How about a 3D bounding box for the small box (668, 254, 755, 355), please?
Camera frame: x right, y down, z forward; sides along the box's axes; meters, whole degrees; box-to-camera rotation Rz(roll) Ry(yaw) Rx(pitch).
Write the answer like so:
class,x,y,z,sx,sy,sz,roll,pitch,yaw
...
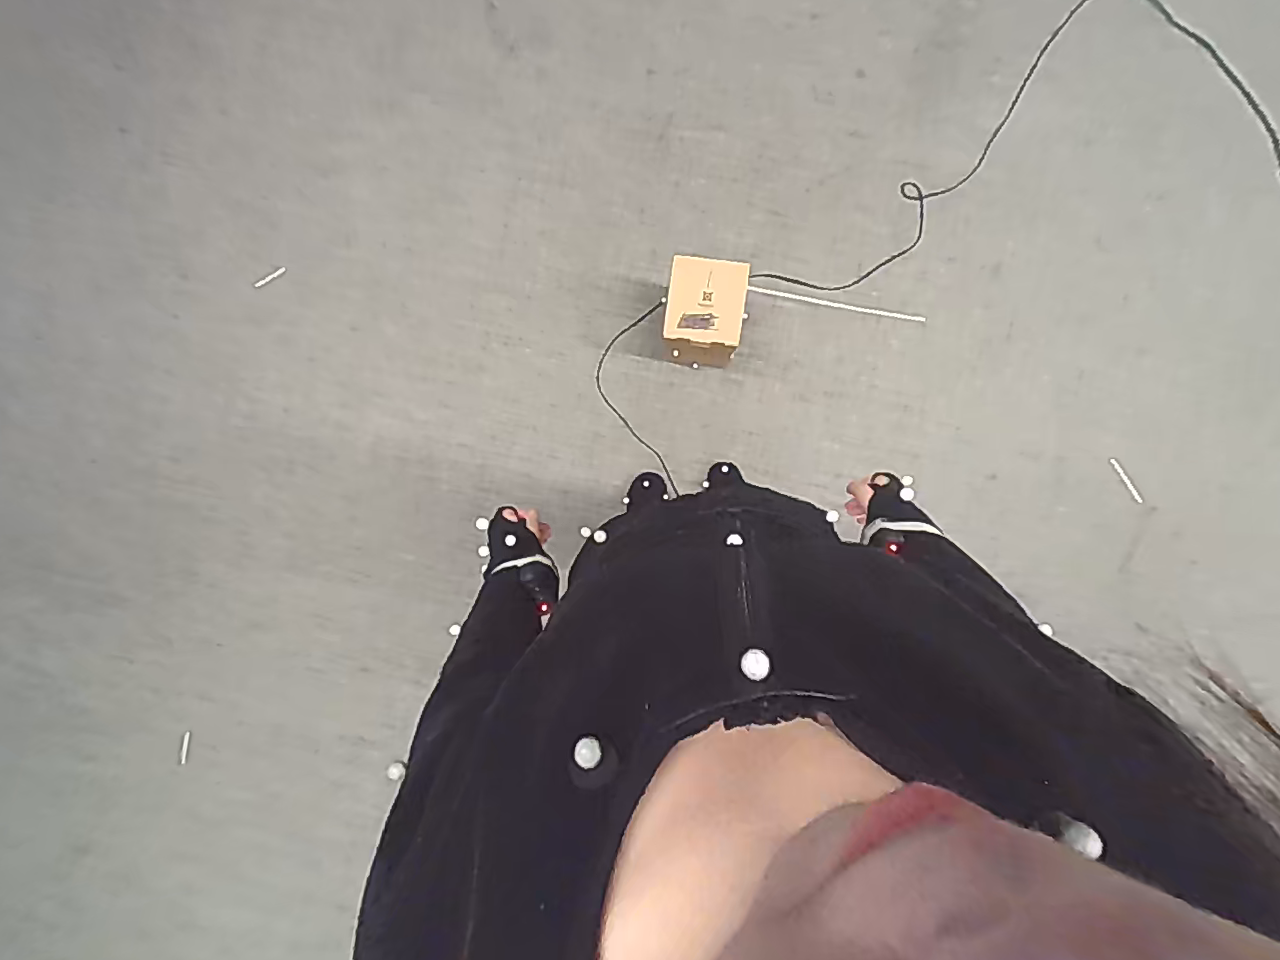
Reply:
class,x,y,z,sx,sy,sz,roll,pitch,yaw
small box,0.159,-0.390,1.231,0.168,0.176,0.179,8,94,3
